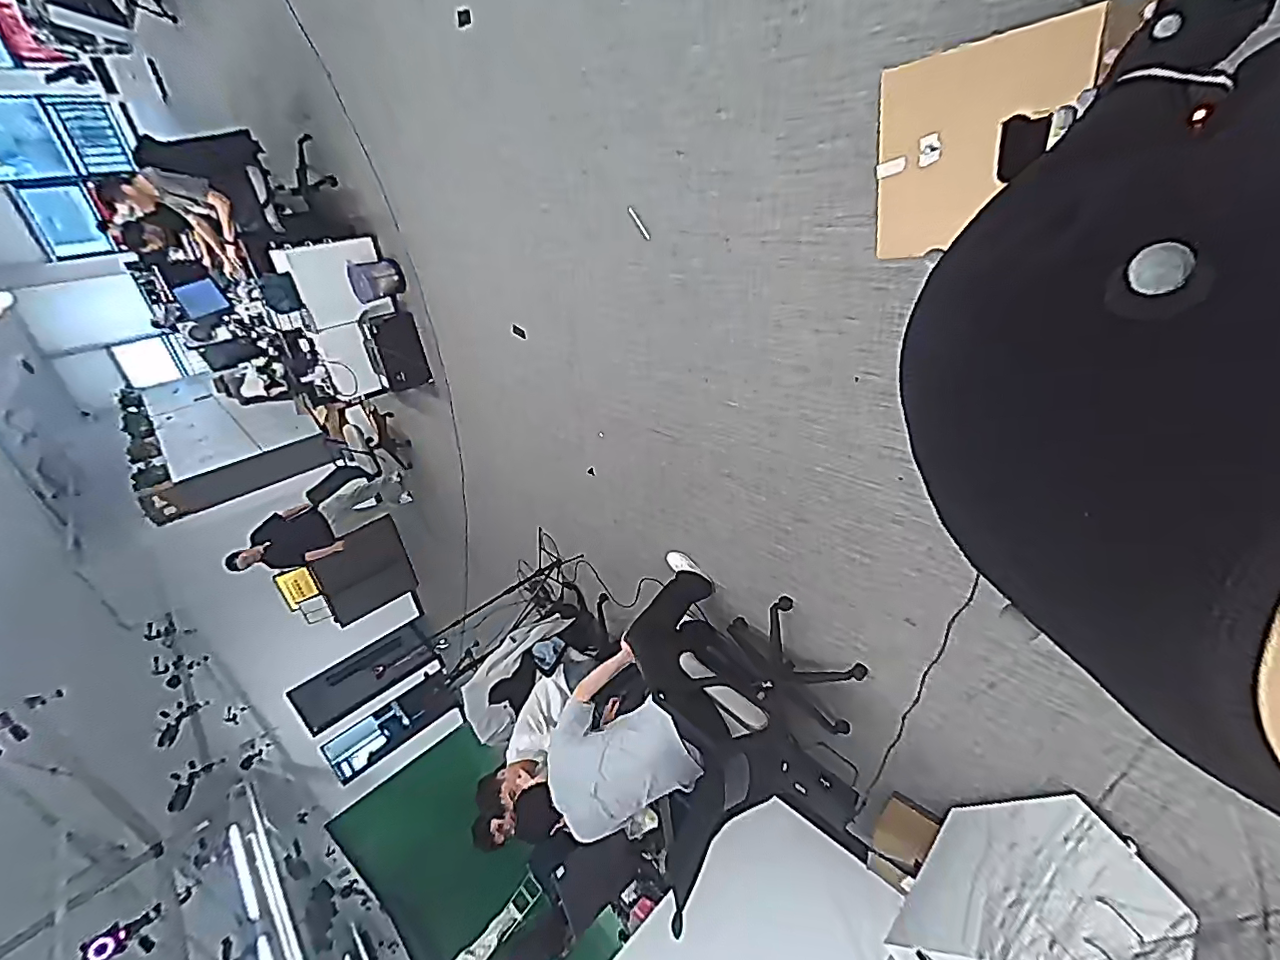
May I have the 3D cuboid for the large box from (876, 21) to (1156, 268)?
[{"bbox_3d":[0.685,-0.607,1.012,0.320,0.408,0.320,20,131,45],"label":"large box"}]
